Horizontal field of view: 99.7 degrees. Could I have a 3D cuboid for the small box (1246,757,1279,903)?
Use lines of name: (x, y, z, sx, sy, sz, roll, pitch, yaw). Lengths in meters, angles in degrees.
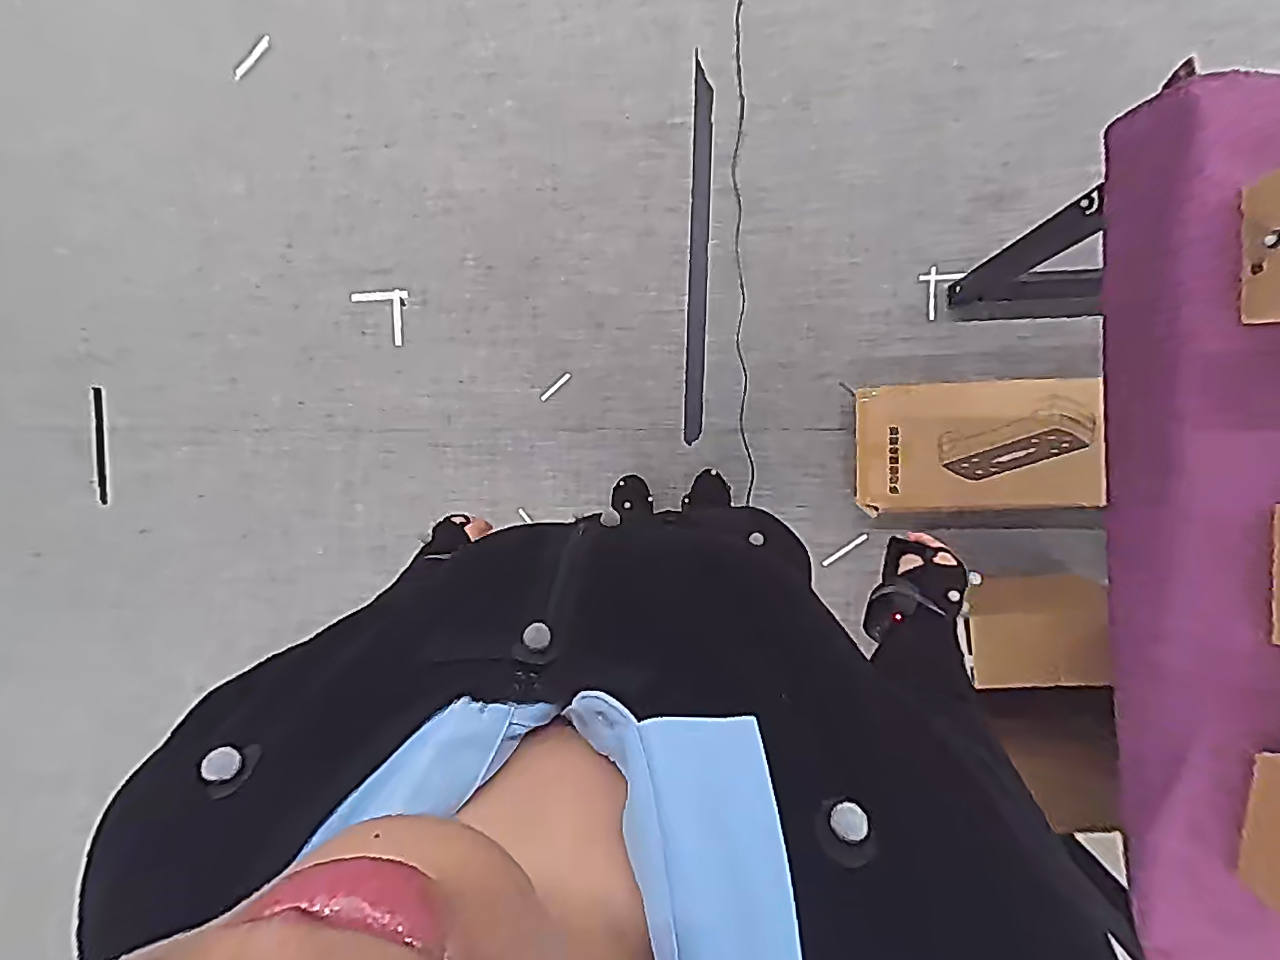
small box: (0.847, 0.439, 0.598, 0.168, 0.176, 0.179, 6, 93, 6)
